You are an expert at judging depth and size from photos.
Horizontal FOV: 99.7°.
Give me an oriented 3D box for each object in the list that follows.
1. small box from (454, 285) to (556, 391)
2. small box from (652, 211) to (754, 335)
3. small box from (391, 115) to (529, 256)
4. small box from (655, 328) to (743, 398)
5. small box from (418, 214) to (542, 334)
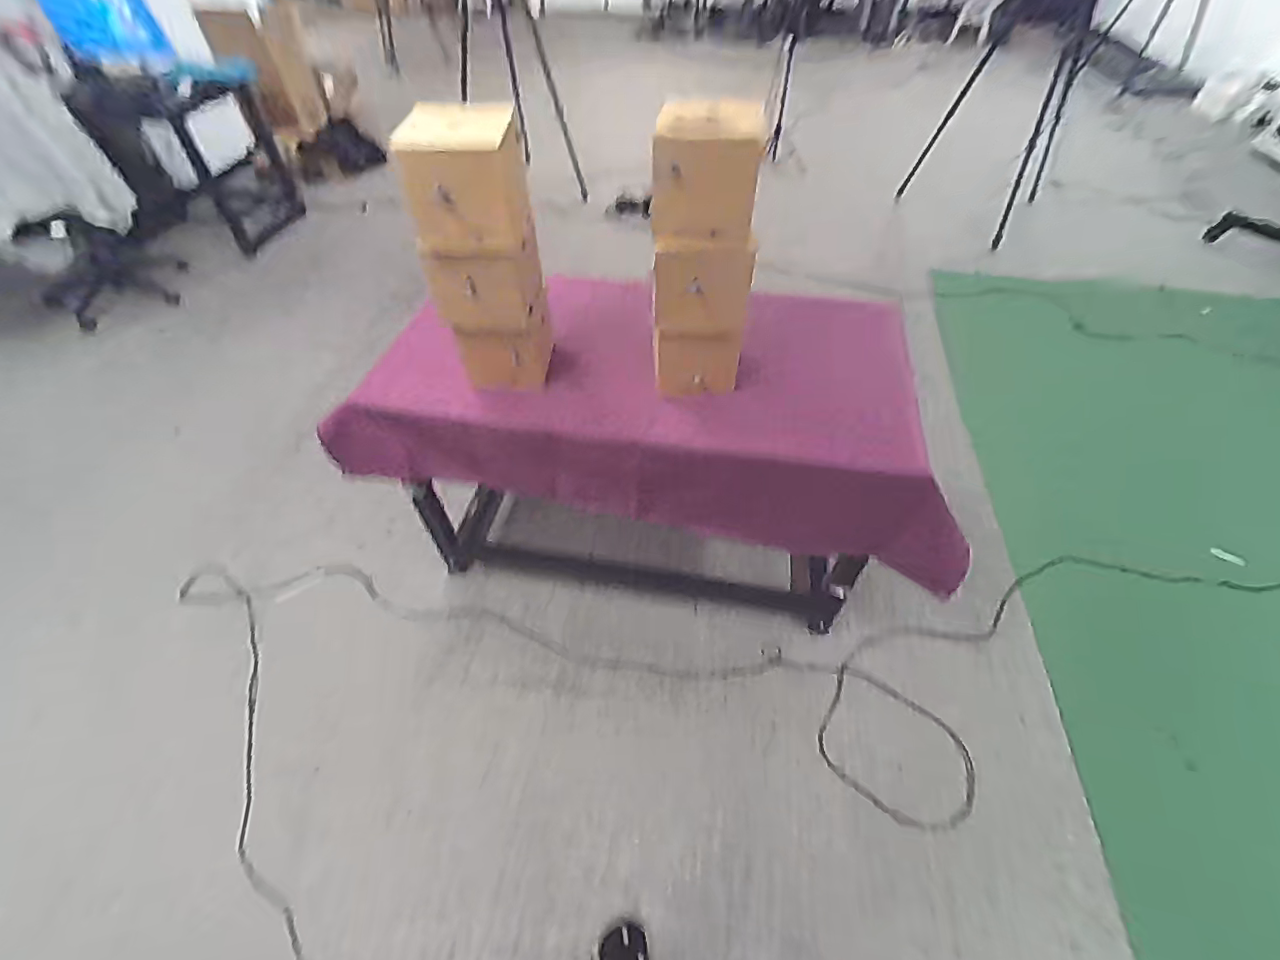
[{"bbox_3d":[-0.287,-0.311,1.190,0.168,0.176,0.179,3,48,3],"label":"small box"},{"bbox_3d":[0.114,-0.389,1.025,0.179,0.176,0.168,1,49,3],"label":"small box"},{"bbox_3d":[-0.291,-0.498,0.921,0.168,0.176,0.179,-1,48,0],"label":"small box"},{"bbox_3d":[0.118,-0.296,1.161,0.168,0.176,0.179,-3,48,0],"label":"small box"},{"bbox_3d":[-0.296,-0.400,1.051,0.179,0.176,0.168,2,49,3],"label":"small box"}]
